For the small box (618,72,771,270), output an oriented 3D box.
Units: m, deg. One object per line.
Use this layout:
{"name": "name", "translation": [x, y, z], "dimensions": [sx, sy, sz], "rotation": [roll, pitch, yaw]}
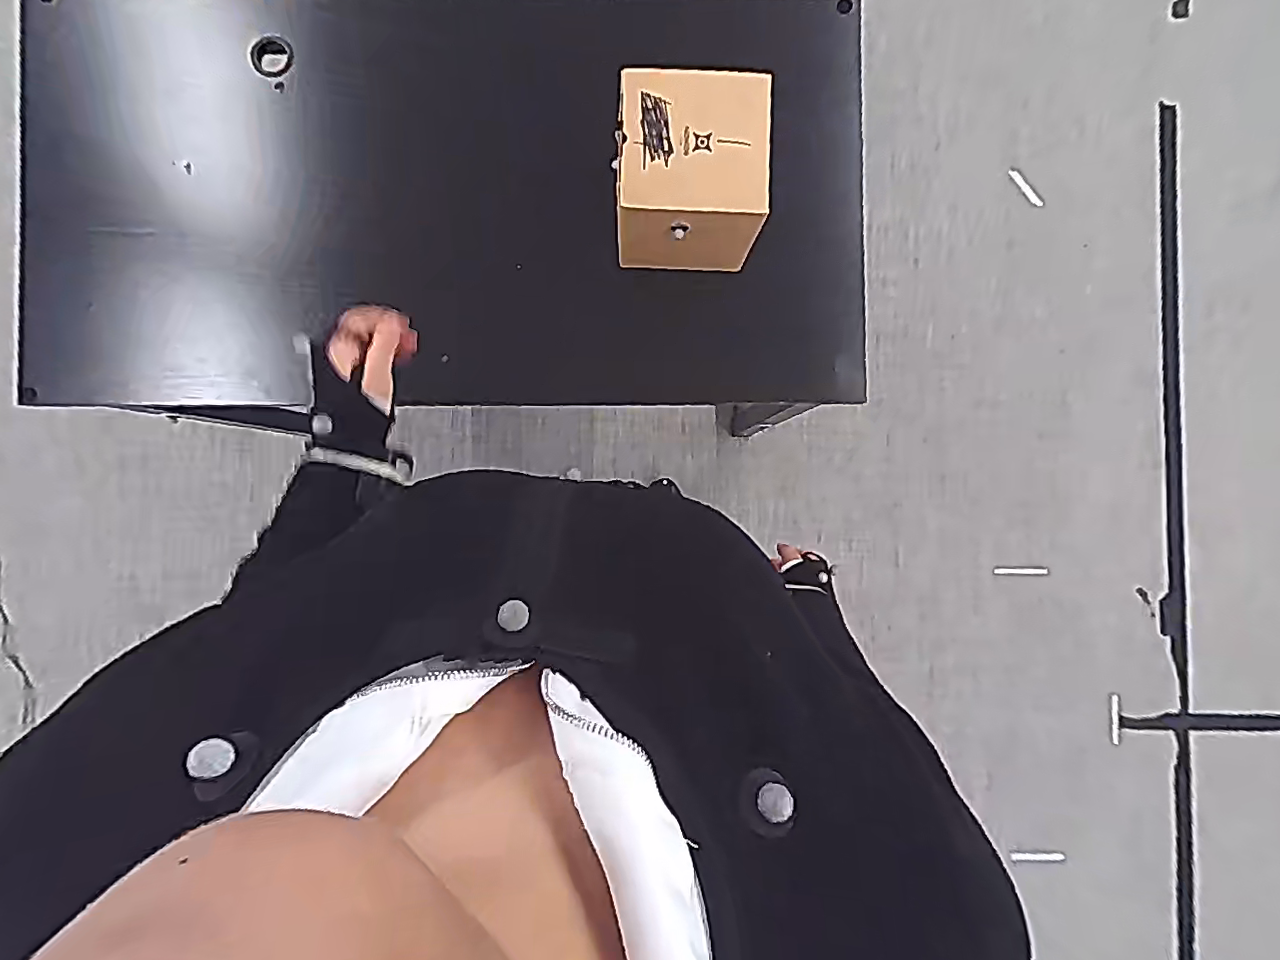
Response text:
{"name": "small box", "translation": [0.064, -0.392, 0.714], "dimensions": [0.179, 0.176, 0.168], "rotation": [2, 89, -2]}
